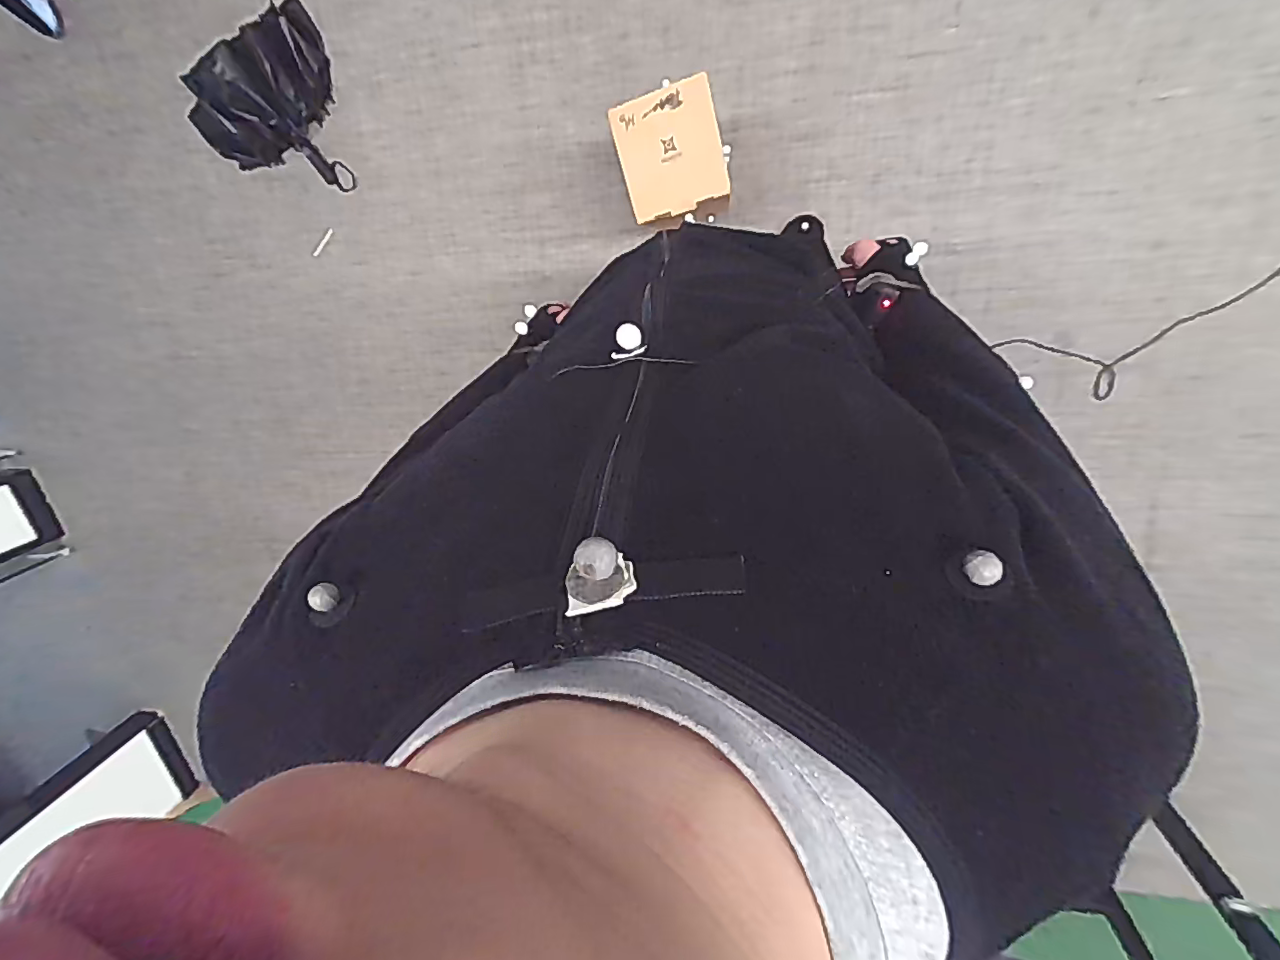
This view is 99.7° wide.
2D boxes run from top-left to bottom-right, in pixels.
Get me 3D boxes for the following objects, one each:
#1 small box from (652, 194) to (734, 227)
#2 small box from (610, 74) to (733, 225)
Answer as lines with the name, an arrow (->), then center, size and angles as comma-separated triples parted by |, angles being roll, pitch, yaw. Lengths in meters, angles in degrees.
small box -> 0.090, -0.625, 1.089 | 0.168, 0.176, 0.179 | -11, 112, 16
small box -> 0.065, -0.560, 0.942 | 0.168, 0.176, 0.179 | -12, 112, 15
